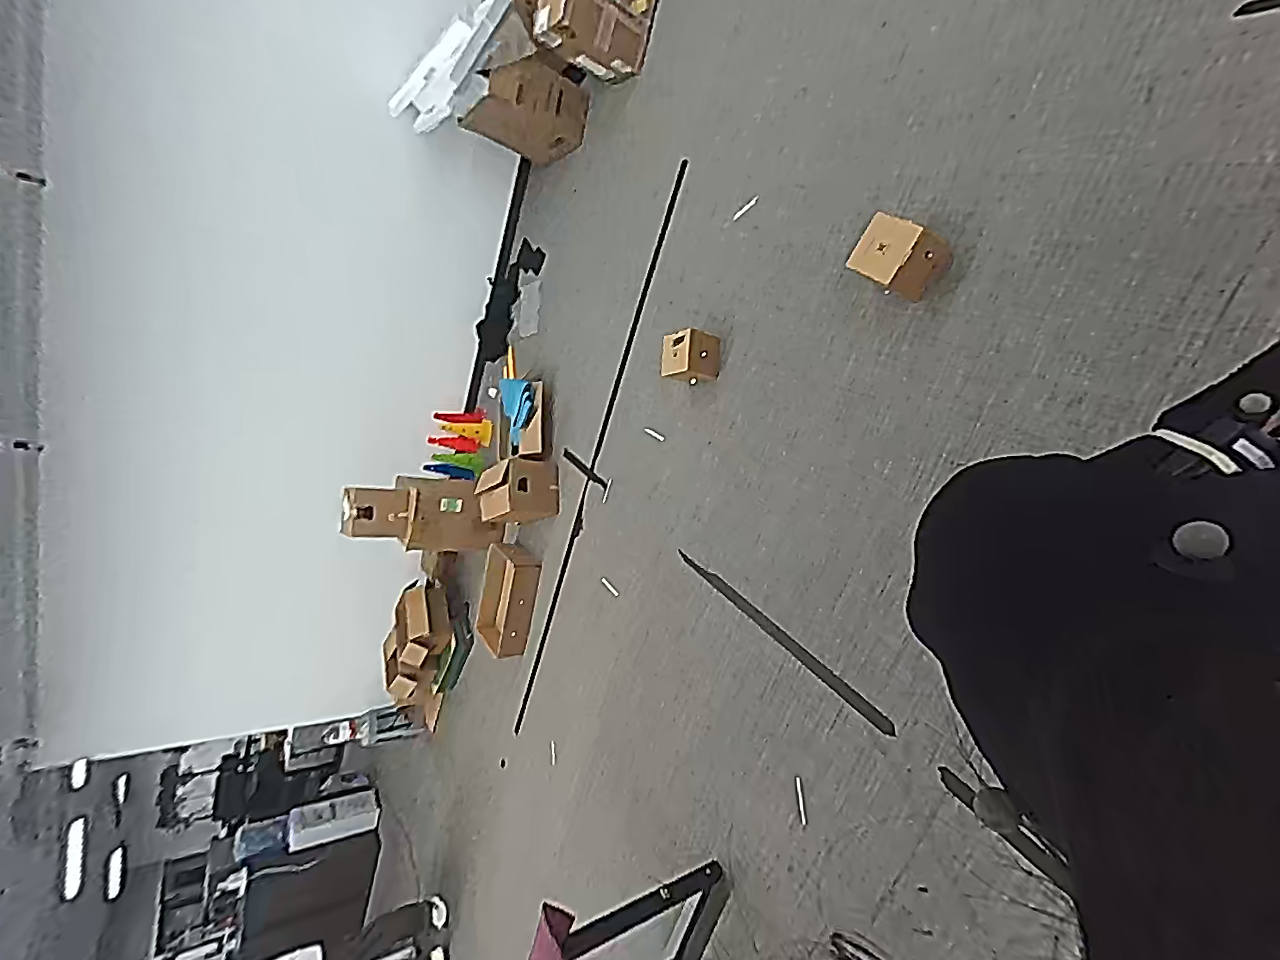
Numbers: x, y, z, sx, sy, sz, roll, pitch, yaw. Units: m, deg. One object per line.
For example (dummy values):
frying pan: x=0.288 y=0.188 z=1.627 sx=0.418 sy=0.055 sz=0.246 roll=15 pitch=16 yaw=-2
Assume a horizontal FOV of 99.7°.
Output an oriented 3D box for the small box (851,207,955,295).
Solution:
small box: x=0.761 y=-0.655 z=1.561 sx=0.179 sy=0.176 sz=0.168 roll=53 pitch=124 yaw=43

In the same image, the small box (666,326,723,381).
small box: x=0.230 y=-0.520 z=2.240 sx=0.168 sy=0.176 sz=0.179 roll=1 pitch=87 yaw=53
